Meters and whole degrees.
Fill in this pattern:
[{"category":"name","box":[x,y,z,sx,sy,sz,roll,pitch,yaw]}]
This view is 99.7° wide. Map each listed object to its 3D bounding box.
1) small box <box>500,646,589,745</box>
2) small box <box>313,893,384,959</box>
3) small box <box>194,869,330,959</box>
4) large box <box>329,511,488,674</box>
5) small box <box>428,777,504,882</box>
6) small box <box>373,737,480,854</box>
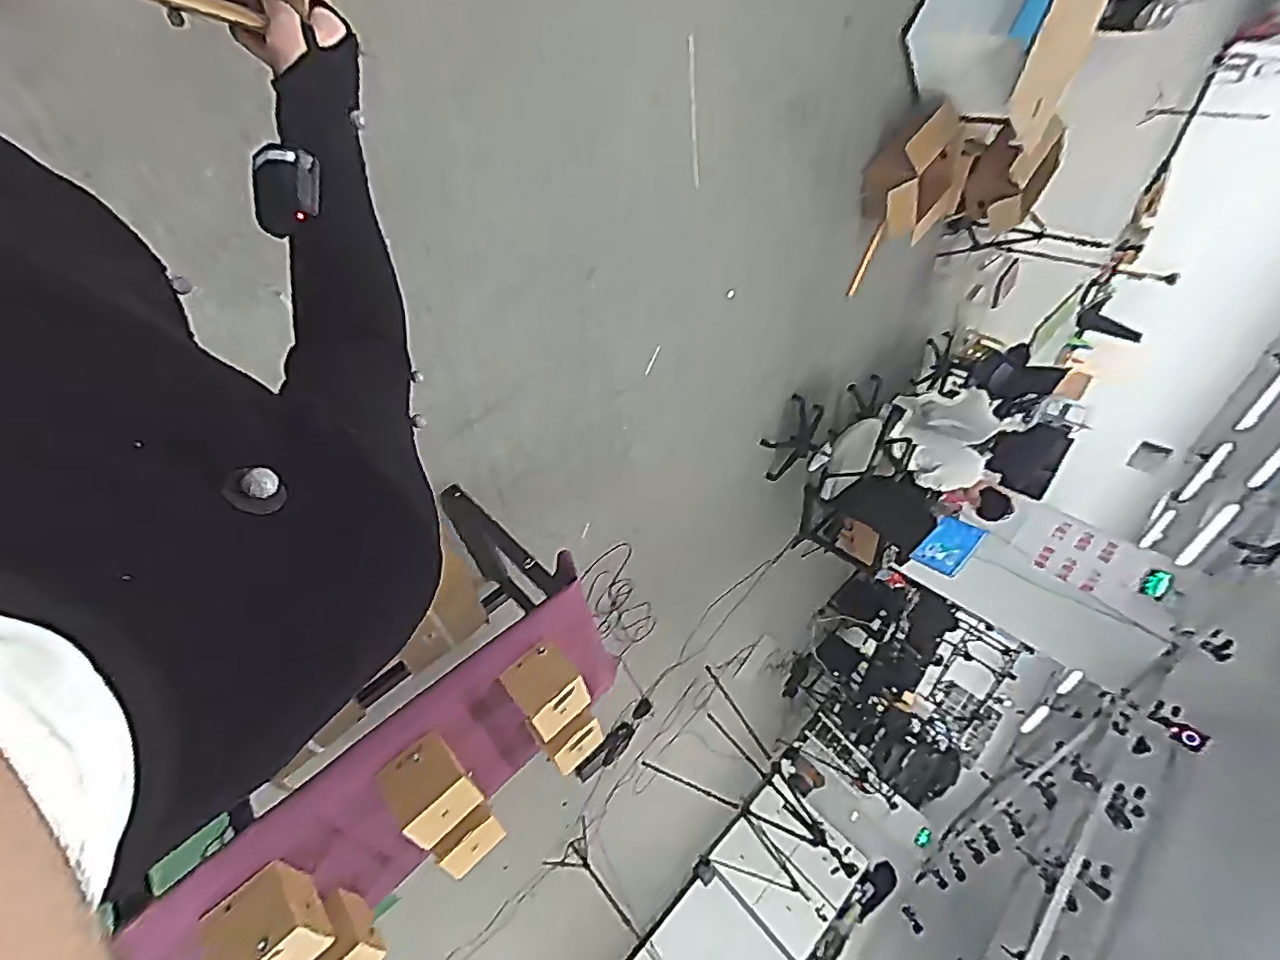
[{"category":"small box","box":[-0.270,0.598,1.522,0.168,0.176,0.179,-36,142,-25]},{"category":"small box","box":[-0.797,1.208,1.383,0.168,0.176,0.179,-36,140,-28]},{"category":"small box","box":[-0.825,1.002,1.187,0.168,0.176,0.179,-36,142,-28]},{"category":"large box","box":[-0.797,0.390,1.889,0.320,0.320,0.408,-35,141,-26]},{"category":"small box","box":[-0.520,0.992,1.546,0.168,0.176,0.179,-34,138,-27]},{"category":"small box","box":[-0.536,0.787,1.362,0.168,0.176,0.179,-35,141,-28]}]
